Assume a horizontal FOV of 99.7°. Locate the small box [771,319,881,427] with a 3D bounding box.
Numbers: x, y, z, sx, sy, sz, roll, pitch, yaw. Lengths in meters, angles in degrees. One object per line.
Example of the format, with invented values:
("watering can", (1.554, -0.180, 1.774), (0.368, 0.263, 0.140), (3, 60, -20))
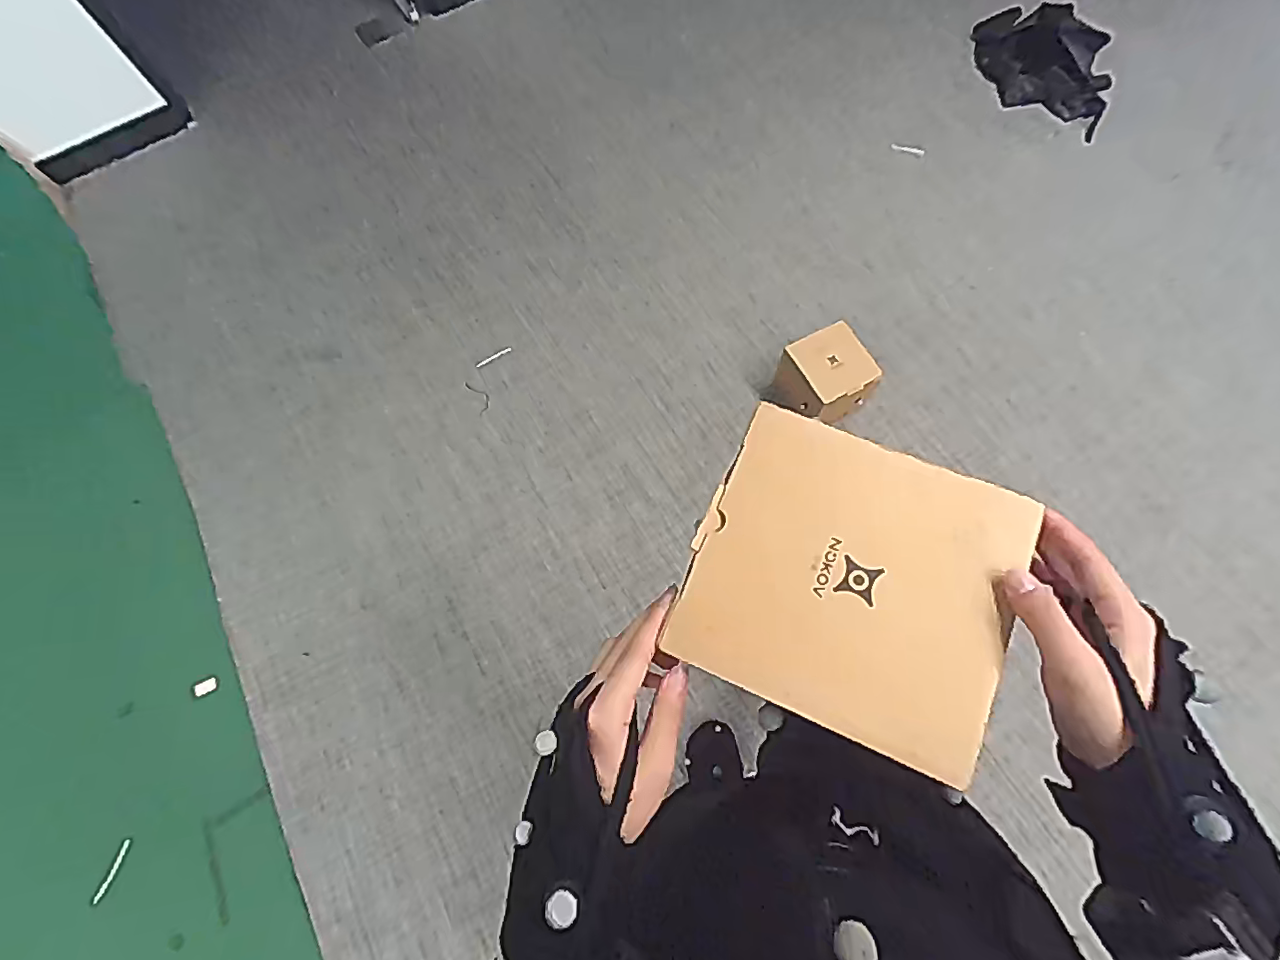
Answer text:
("small box", (0.447, -0.251, 1.328), (0.168, 0.176, 0.179), (-26, 70, -8))
